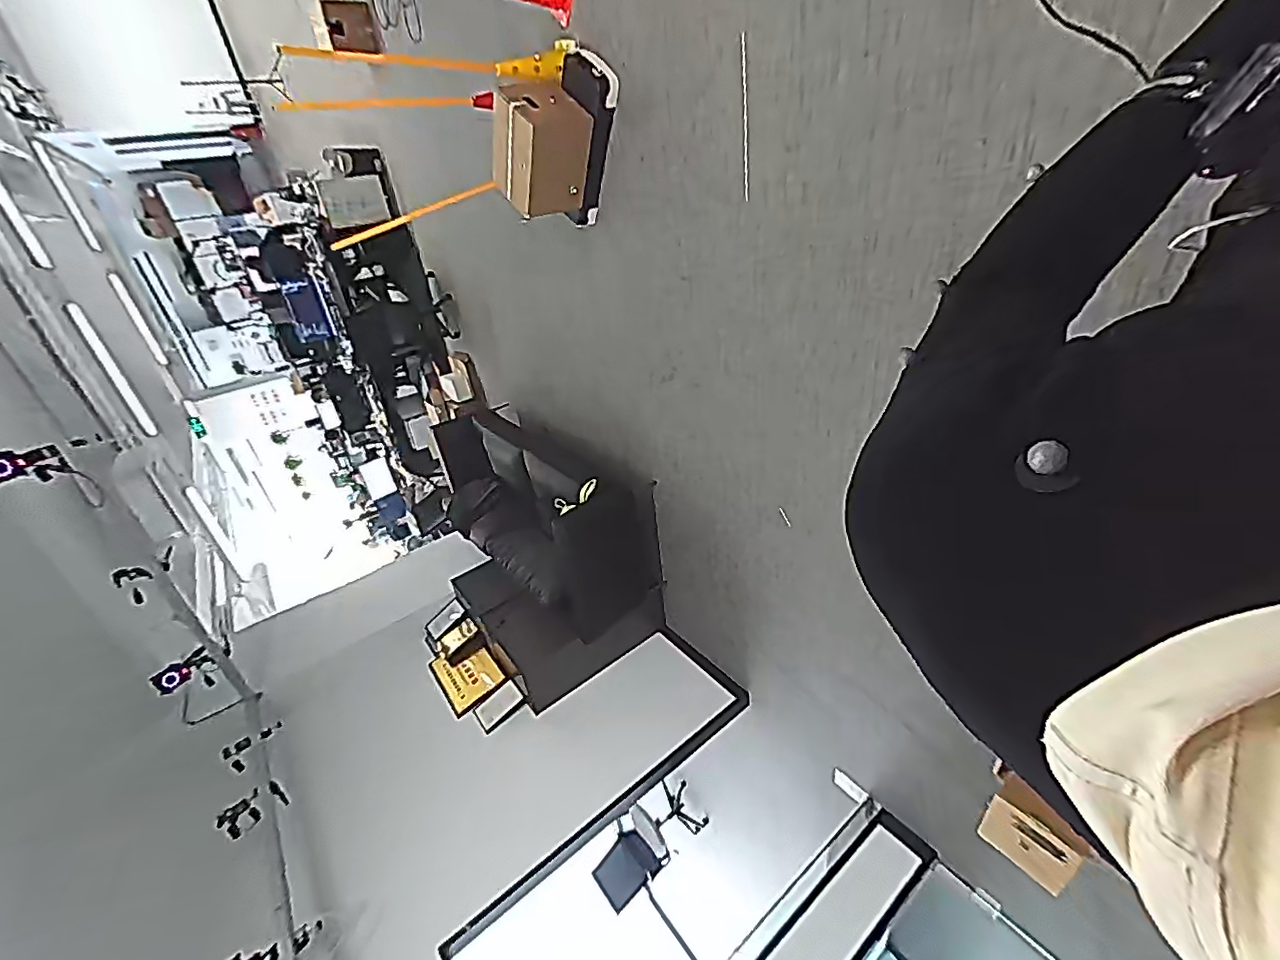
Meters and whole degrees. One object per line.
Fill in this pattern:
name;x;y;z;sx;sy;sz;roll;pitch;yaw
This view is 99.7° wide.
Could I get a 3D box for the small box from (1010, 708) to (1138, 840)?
small box;1.018;0.685;1.272;0.168;0.176;0.179;32;138;45
